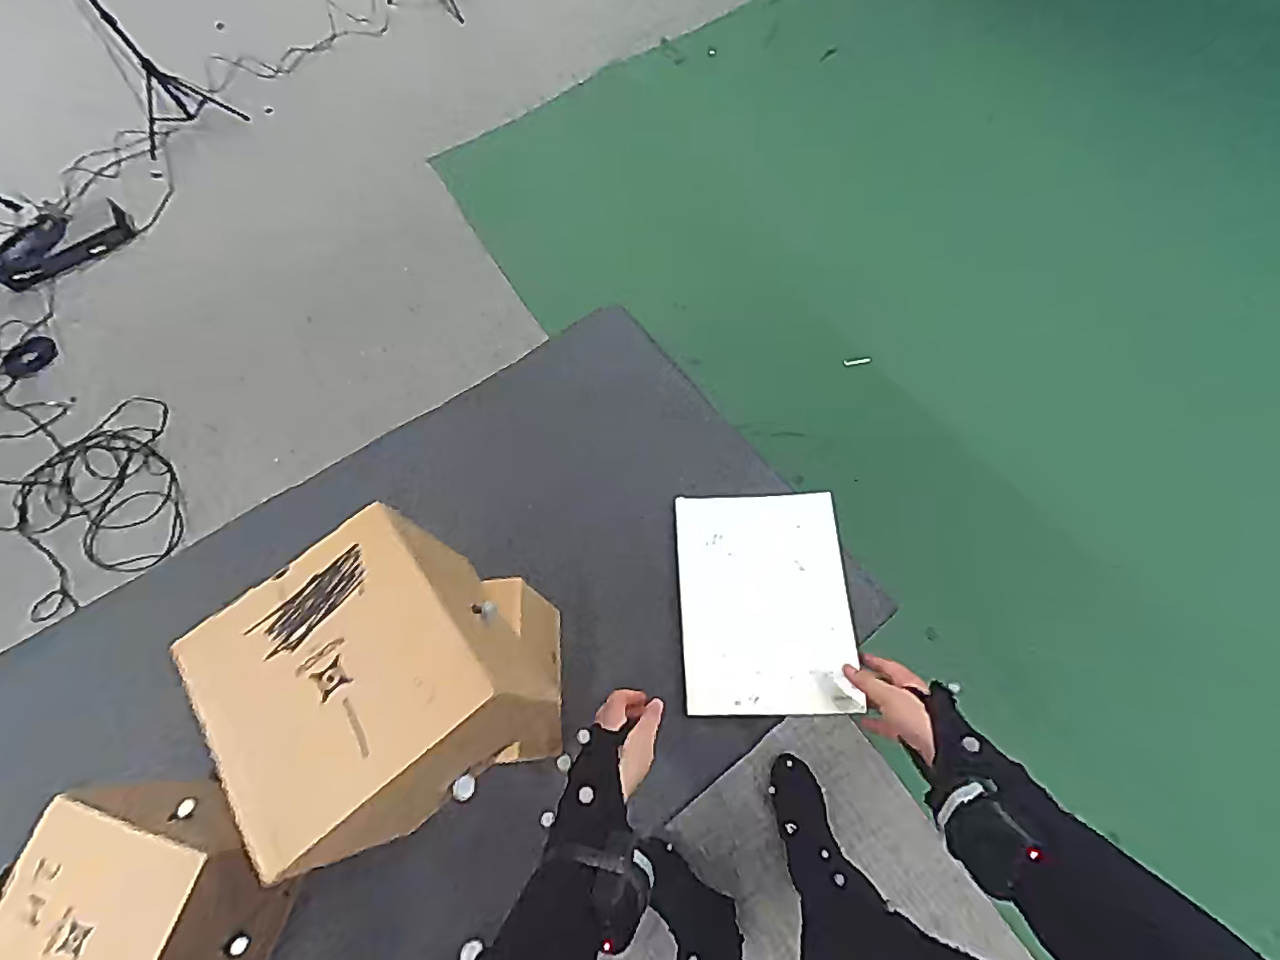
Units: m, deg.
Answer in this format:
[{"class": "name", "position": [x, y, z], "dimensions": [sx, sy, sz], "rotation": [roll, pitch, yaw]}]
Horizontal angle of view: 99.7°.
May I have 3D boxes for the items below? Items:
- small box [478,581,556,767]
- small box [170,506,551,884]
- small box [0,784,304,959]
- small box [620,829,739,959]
[{"class": "small box", "position": [-0.190, 0.213, 0.579], "dimensions": [0.179, 0.176, 0.168], "rotation": [-7, 66, 4]}, {"class": "small box", "position": [-0.197, 0.157, 0.424], "dimensions": [0.168, 0.176, 0.179], "rotation": [-38, 68, -10]}, {"class": "small box", "position": [-0.466, 0.410, 0.520], "dimensions": [0.179, 0.176, 0.168], "rotation": [12, 67, 11]}, {"class": "small box", "position": [0.078, 0.817, 1.064], "dimensions": [0.176, 0.168, 0.179], "rotation": [21, 42, -16]}]
